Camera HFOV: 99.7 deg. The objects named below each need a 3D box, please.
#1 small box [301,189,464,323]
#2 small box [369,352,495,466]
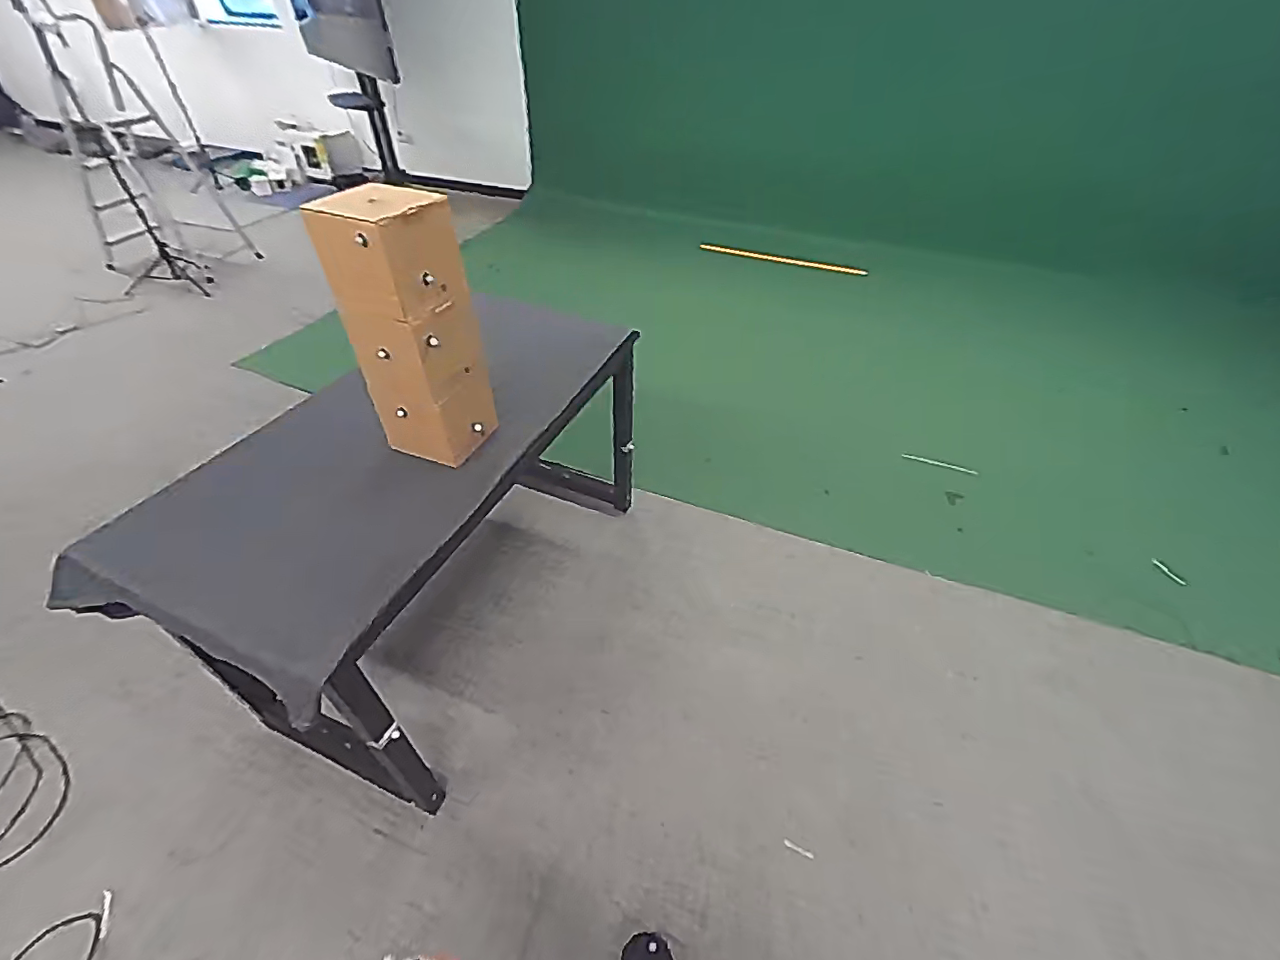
[{"bbox_3d":[-0.442,-0.397,0.956,0.179,0.176,0.168,18,45,18],"label":"small box"},{"bbox_3d":[-0.440,-0.153,1.173,0.179,0.176,0.168,16,45,15],"label":"small box"}]
